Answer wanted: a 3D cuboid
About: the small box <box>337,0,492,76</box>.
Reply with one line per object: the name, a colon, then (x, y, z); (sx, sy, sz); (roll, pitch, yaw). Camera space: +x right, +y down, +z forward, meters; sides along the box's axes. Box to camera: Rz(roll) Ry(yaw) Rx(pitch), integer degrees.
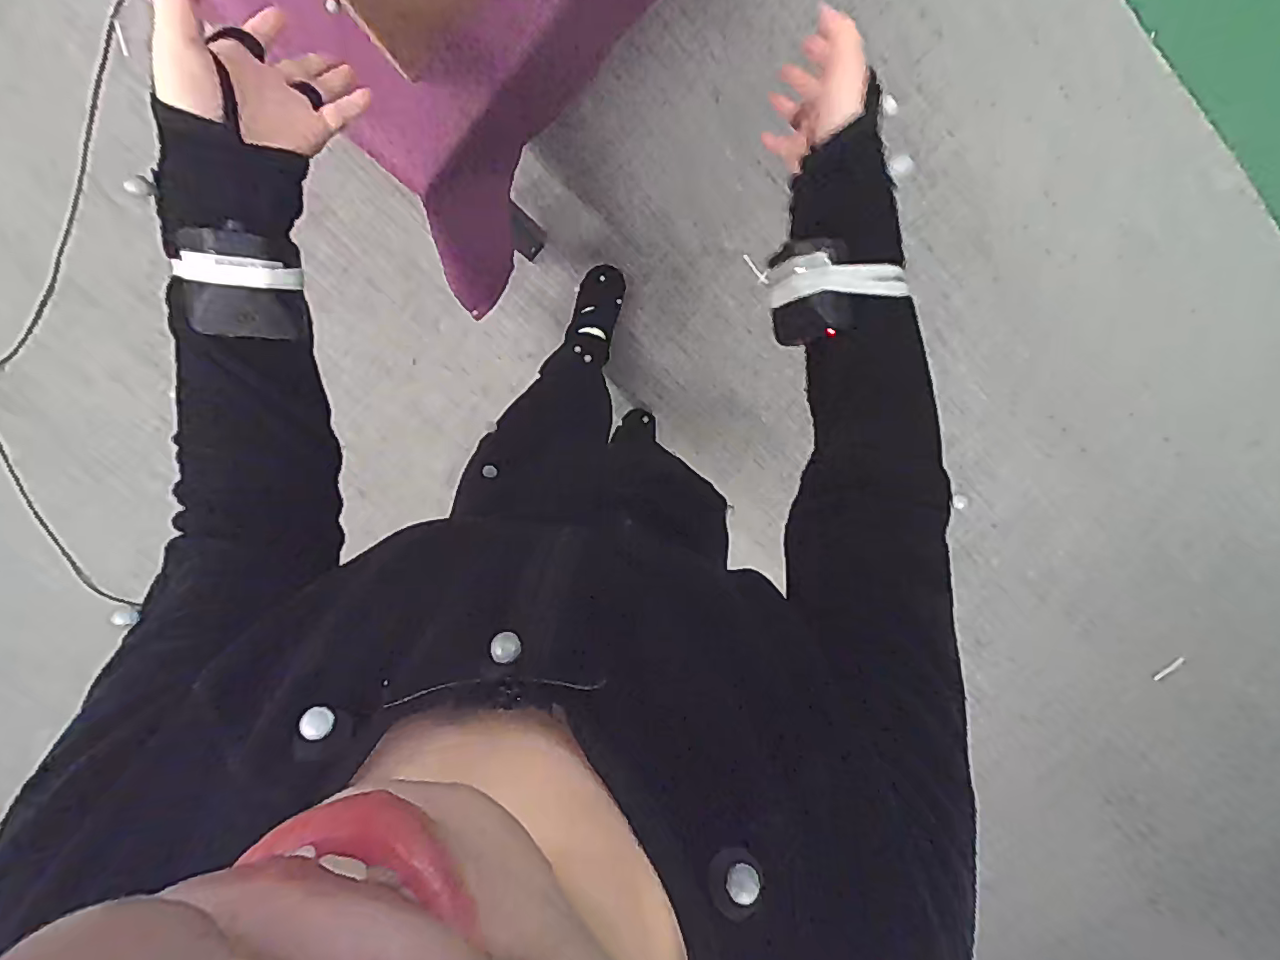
small box: (-0.249, -0.547, 0.516); (0.179, 0.176, 0.168); (-41, 101, 8)
